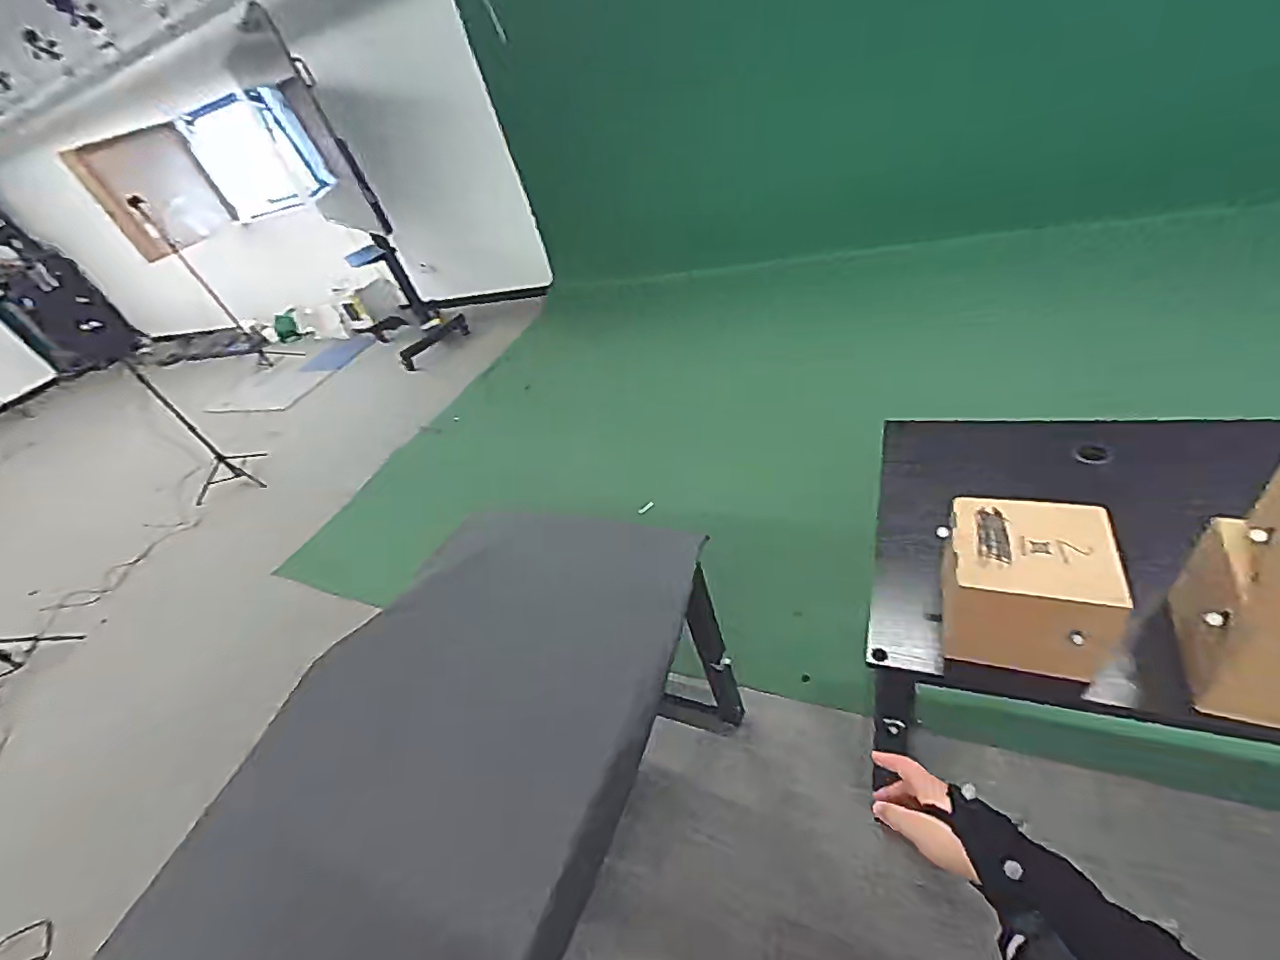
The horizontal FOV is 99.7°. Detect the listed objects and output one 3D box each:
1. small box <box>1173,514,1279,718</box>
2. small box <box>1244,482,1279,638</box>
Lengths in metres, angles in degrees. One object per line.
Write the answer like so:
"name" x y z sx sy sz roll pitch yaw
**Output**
"small box" 0.757 0.166 0.617 0.168 0.176 0.179 7 46 28
"small box" 0.719 0.062 0.496 0.179 0.176 0.168 13 49 34
